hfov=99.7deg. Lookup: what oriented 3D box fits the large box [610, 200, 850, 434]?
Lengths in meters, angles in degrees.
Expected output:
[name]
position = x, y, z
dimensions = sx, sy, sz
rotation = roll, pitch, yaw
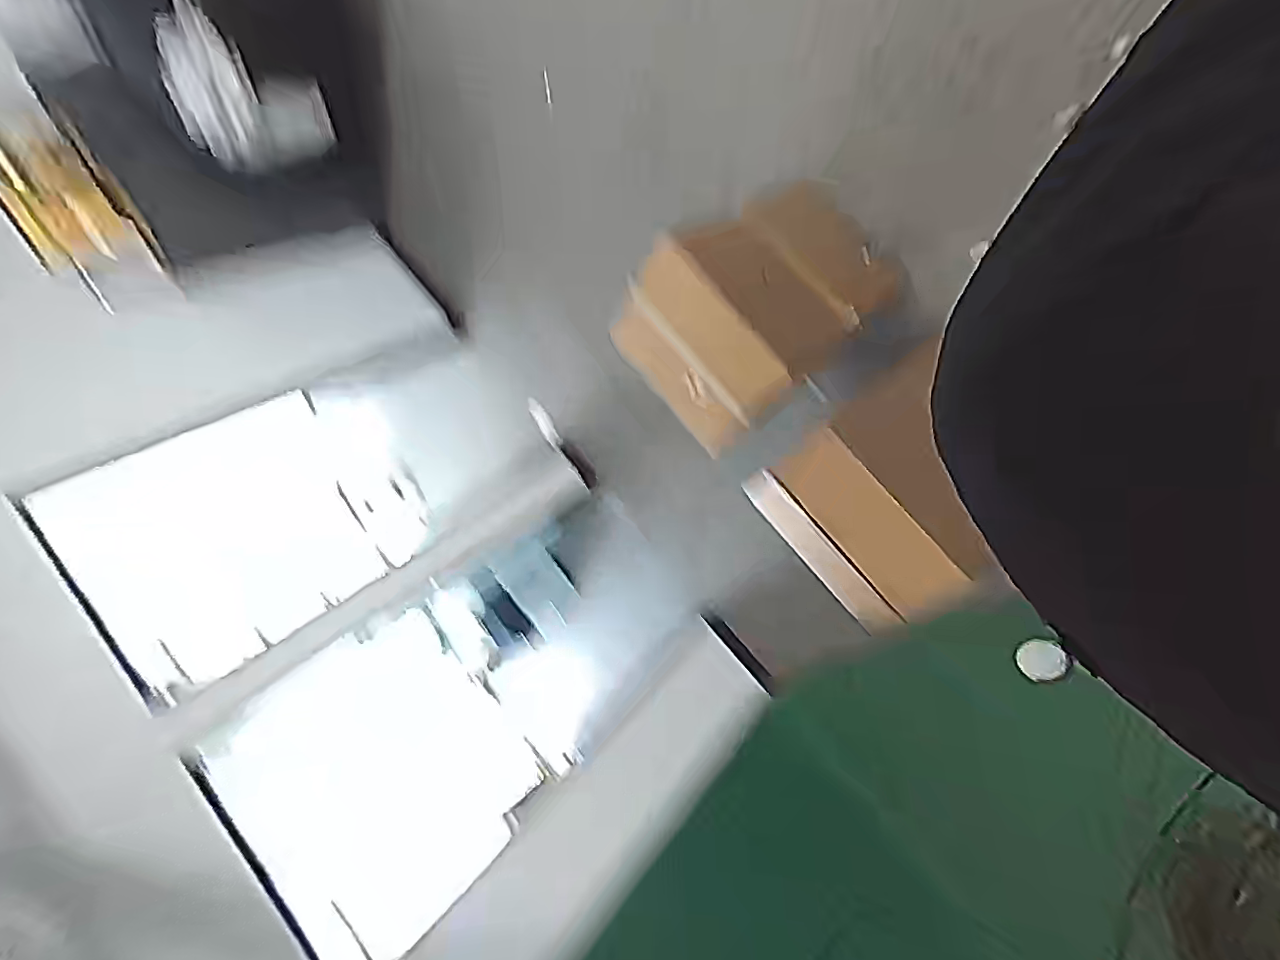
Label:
[large box]
position = 0.209, -0.395, 1.301
dimensions = 0.408, 0.320, 0.320
rotation = 50, 142, 5
